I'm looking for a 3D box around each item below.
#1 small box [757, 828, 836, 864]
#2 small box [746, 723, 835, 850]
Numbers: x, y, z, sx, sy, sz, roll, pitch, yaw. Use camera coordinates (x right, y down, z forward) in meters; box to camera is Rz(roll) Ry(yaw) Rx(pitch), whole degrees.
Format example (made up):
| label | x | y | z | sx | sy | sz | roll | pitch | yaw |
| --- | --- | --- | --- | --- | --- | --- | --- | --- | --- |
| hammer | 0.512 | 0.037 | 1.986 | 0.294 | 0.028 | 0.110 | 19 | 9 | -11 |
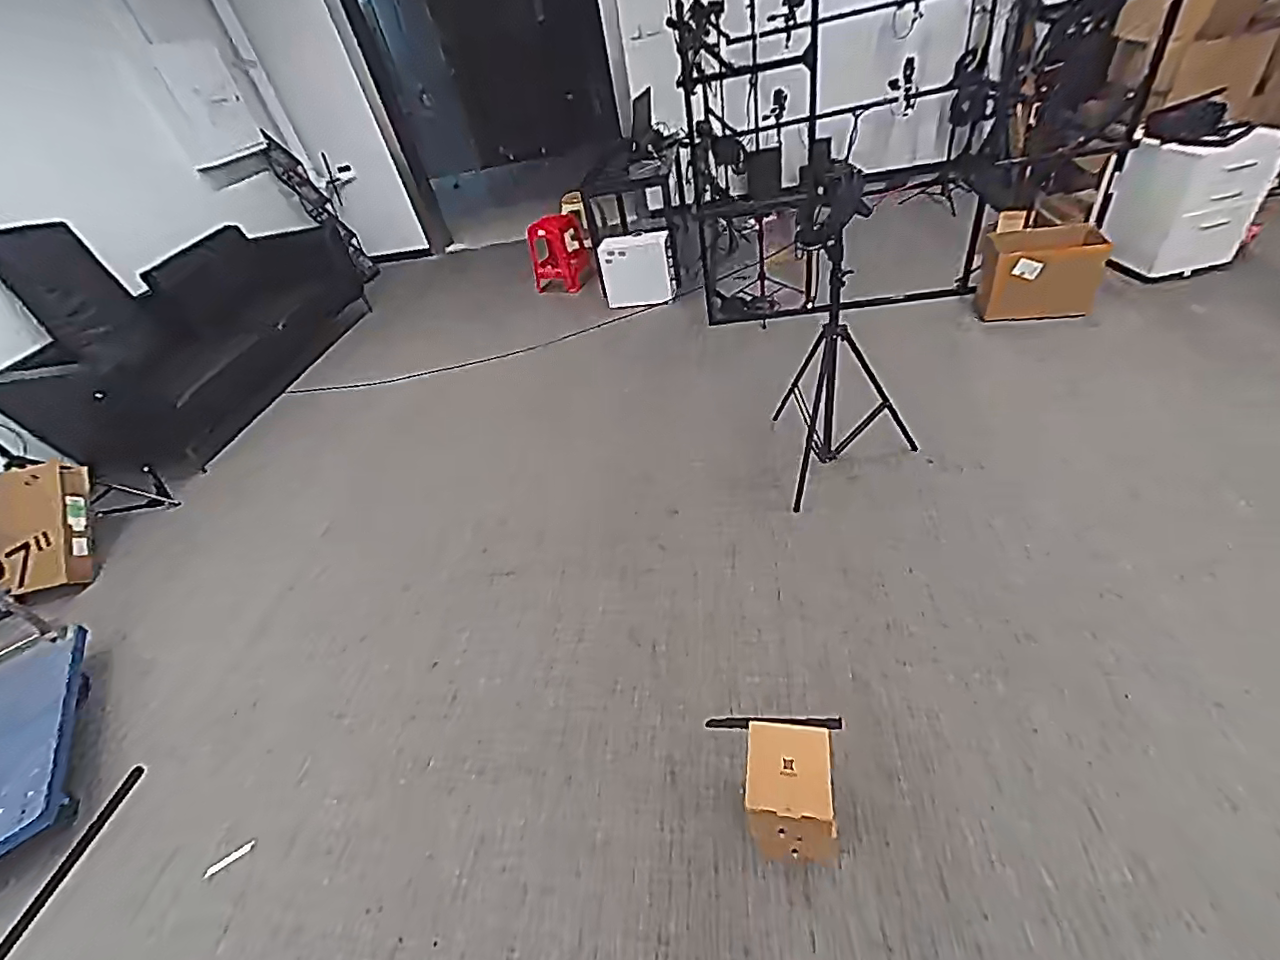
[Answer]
| label | x | y | z | sx | sy | sz | roll | pitch | yaw |
| --- | --- | --- | --- | --- | --- | --- | --- | --- | --- |
| small box | 0.352 | 0.762 | 1.247 | 0.168 | 0.176 | 0.179 | -5 | 40 | 10 |
| small box | 0.315 | 0.644 | 1.141 | 0.168 | 0.176 | 0.179 | -1 | 42 | 16 |
